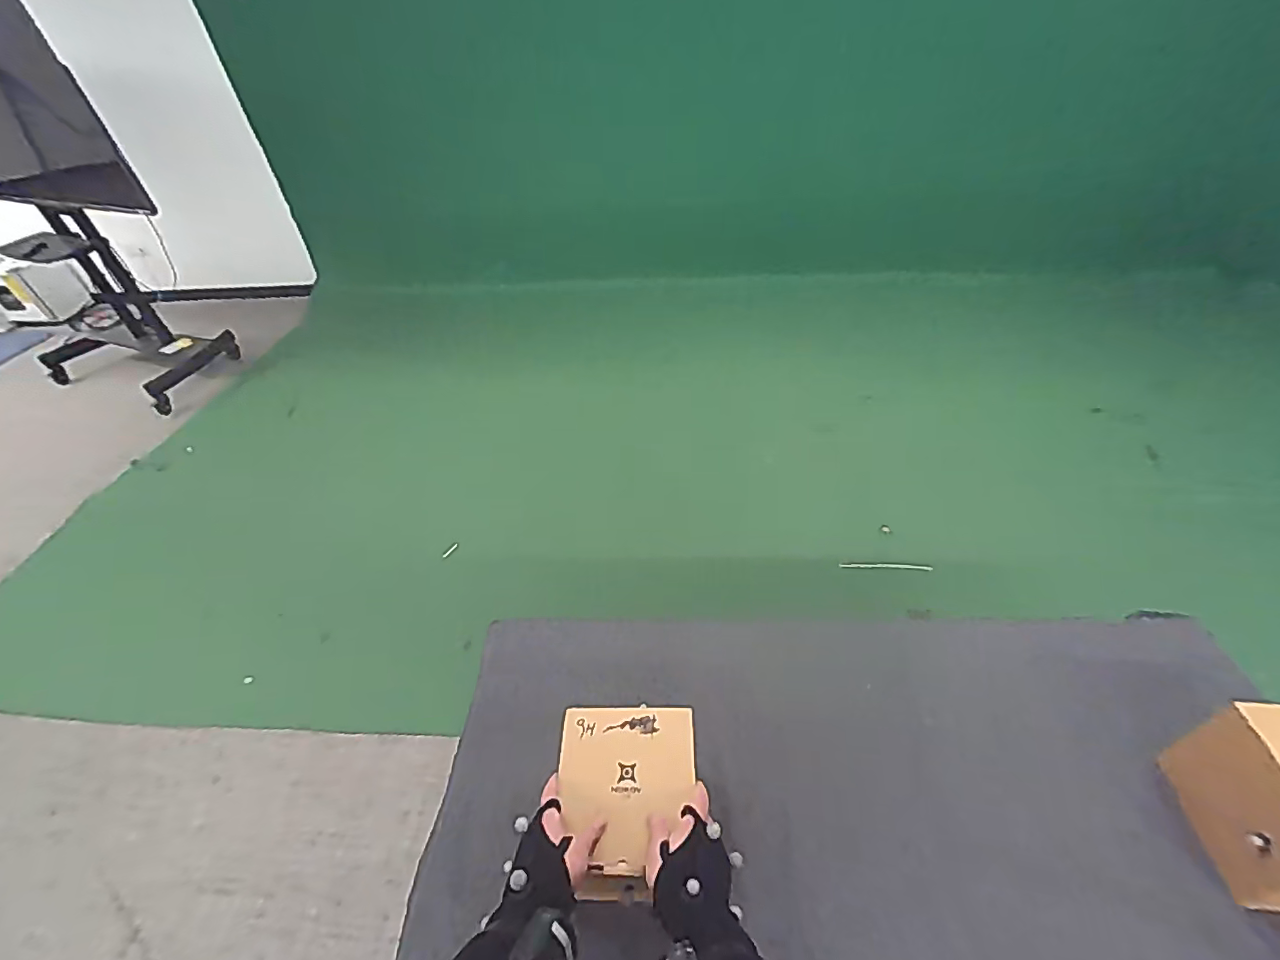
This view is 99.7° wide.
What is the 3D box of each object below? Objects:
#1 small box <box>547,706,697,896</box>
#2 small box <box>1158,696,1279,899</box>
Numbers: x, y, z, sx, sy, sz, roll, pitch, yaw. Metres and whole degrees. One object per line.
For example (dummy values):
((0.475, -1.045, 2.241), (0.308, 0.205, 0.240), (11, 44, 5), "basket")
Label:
((-0.013, 0.409, 0.689), (0.168, 0.176, 0.179), (-1, 43, 3), "small box")
((0.792, 0.382, 0.640), (0.168, 0.176, 0.179), (1, 41, 6), "small box")
